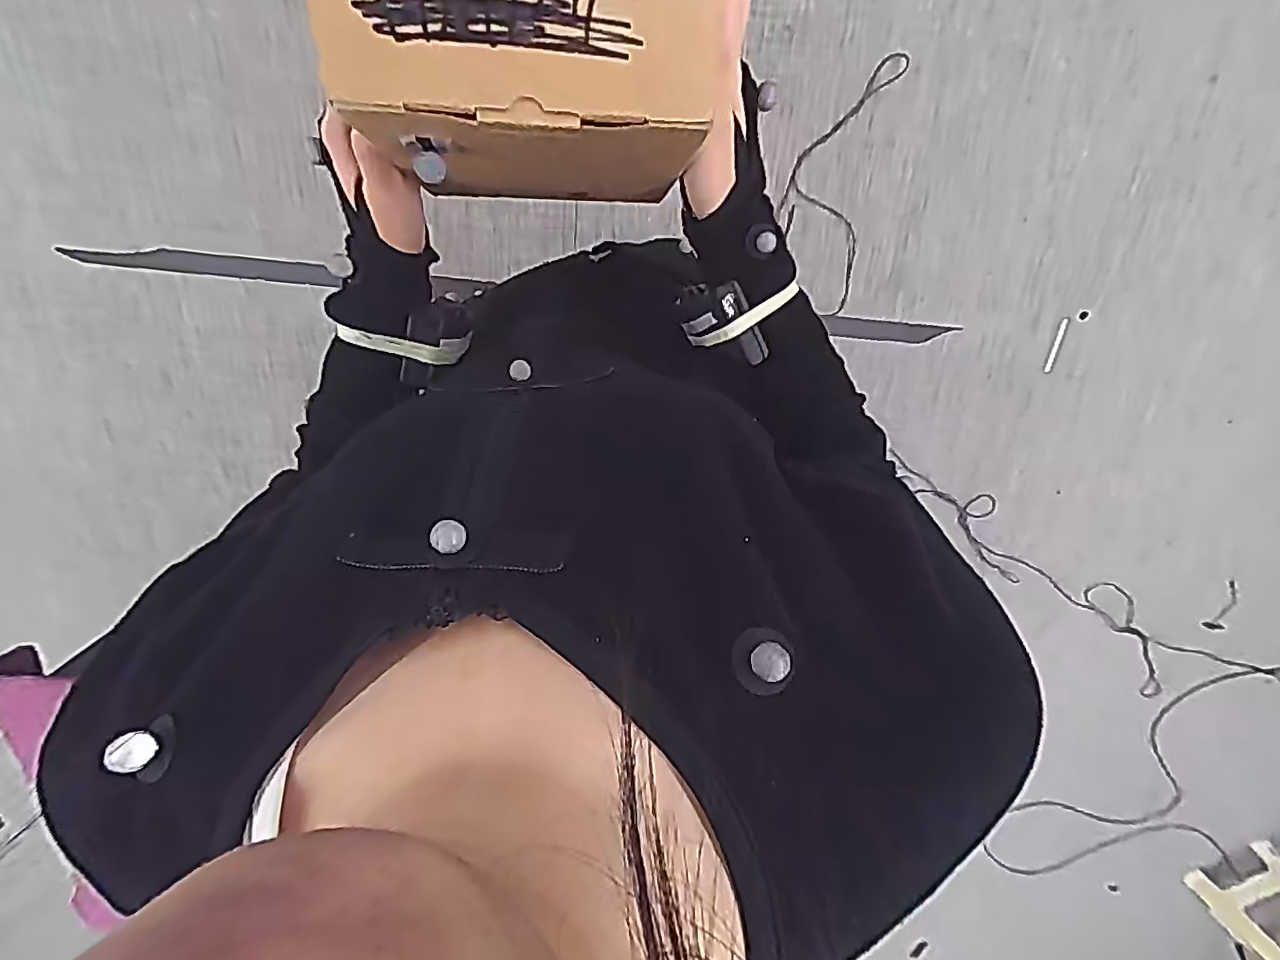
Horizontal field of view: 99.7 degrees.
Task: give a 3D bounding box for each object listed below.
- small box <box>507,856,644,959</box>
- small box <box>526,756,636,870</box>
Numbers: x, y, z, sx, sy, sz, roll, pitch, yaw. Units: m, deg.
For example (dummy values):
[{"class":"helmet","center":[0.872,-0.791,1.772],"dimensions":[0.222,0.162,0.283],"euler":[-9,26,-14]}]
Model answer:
[{"class":"small box","center":[-0.086,0.658,0.754],"dimensions":[0.179,0.176,0.168],"euler":[0,114,-3]},{"class":"small box","center":[-0.092,0.595,0.903],"dimensions":[0.168,0.176,0.179],"euler":[1,112,-3]}]
